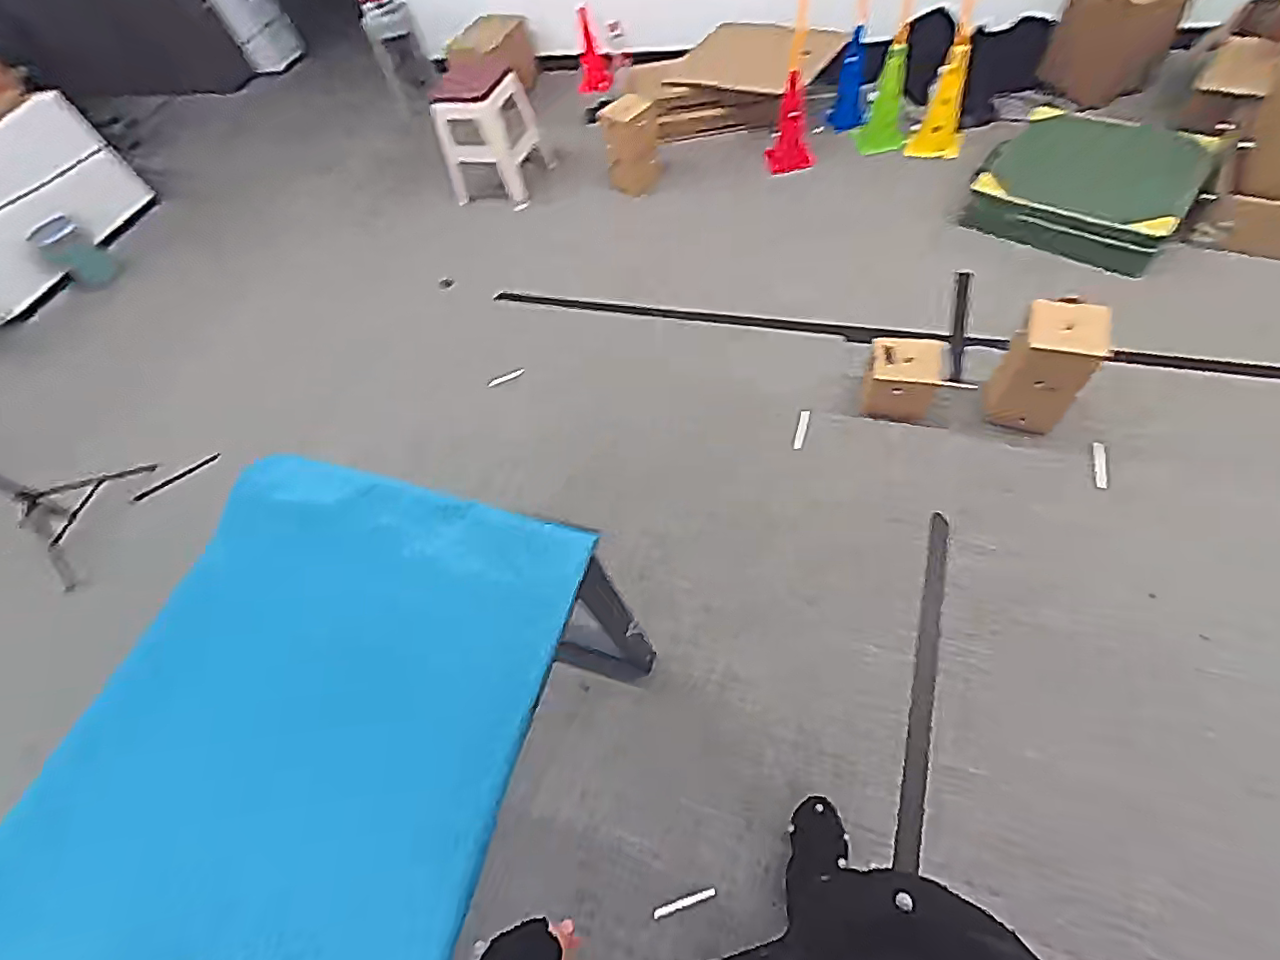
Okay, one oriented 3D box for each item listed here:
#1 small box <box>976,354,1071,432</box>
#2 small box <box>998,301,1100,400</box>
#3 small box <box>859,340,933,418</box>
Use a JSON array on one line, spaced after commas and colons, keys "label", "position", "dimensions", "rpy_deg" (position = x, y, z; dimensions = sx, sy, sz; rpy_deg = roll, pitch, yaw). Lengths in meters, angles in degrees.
[{"label": "small box", "position": [1.113, -0.261, 1.572], "dimensions": [0.179, 0.176, 0.168], "rpy_deg": [16, 63, 17]}, {"label": "small box", "position": [1.078, -0.341, 1.435], "dimensions": [0.168, 0.176, 0.179], "rpy_deg": [15, 64, 19]}, {"label": "small box", "position": [0.781, -0.308, 1.659], "dimensions": [0.179, 0.176, 0.168], "rpy_deg": [8, 61, 14]}]
